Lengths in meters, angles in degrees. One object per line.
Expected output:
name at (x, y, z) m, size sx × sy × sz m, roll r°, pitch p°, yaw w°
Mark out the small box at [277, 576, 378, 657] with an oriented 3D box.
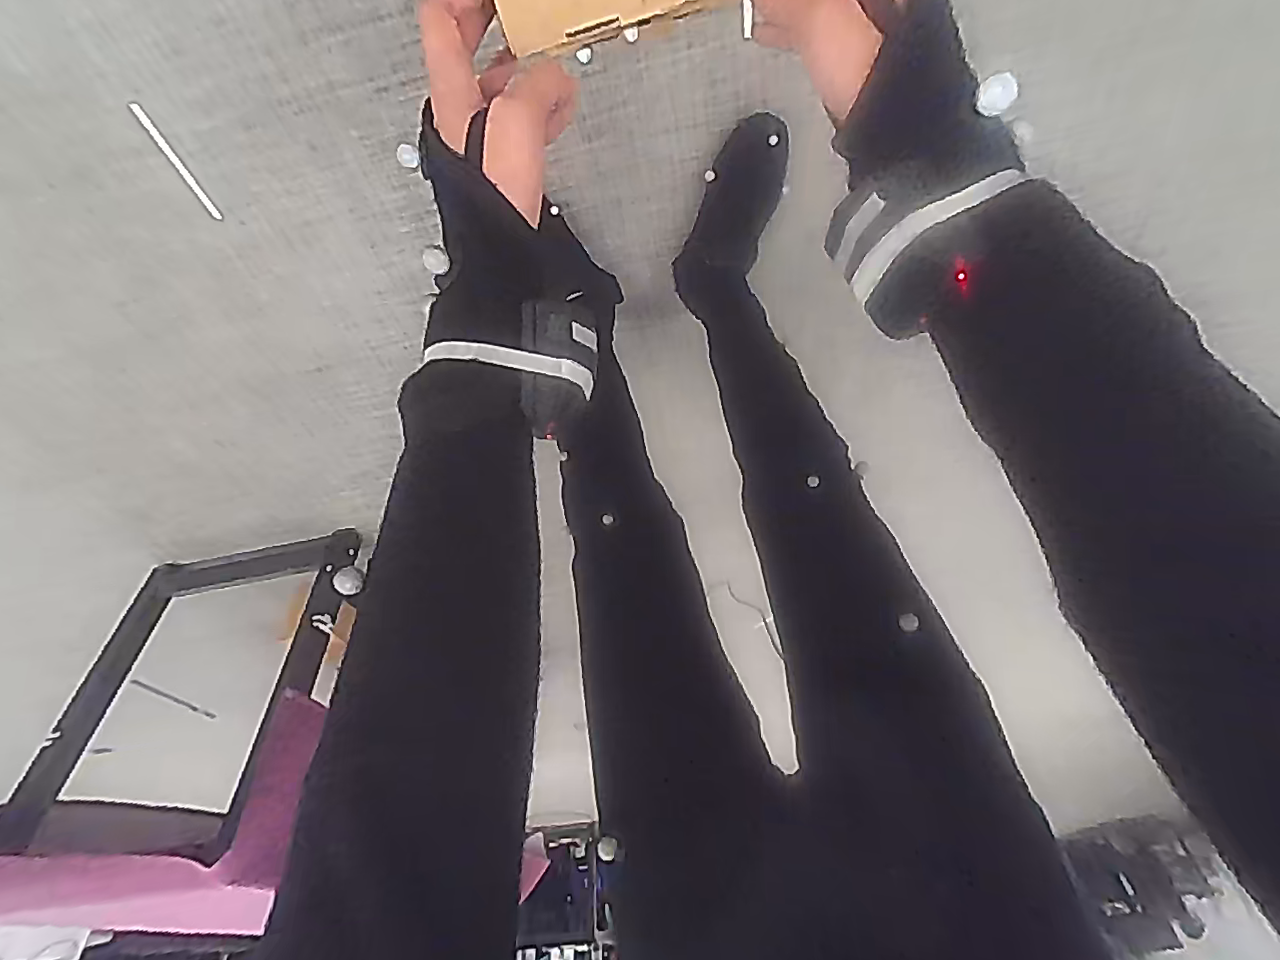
small box at (-0.891, 0.388, 1.558) m, size 0.168 × 0.176 × 0.179 m, roll -10°, pitch 140°, yaw 5°
